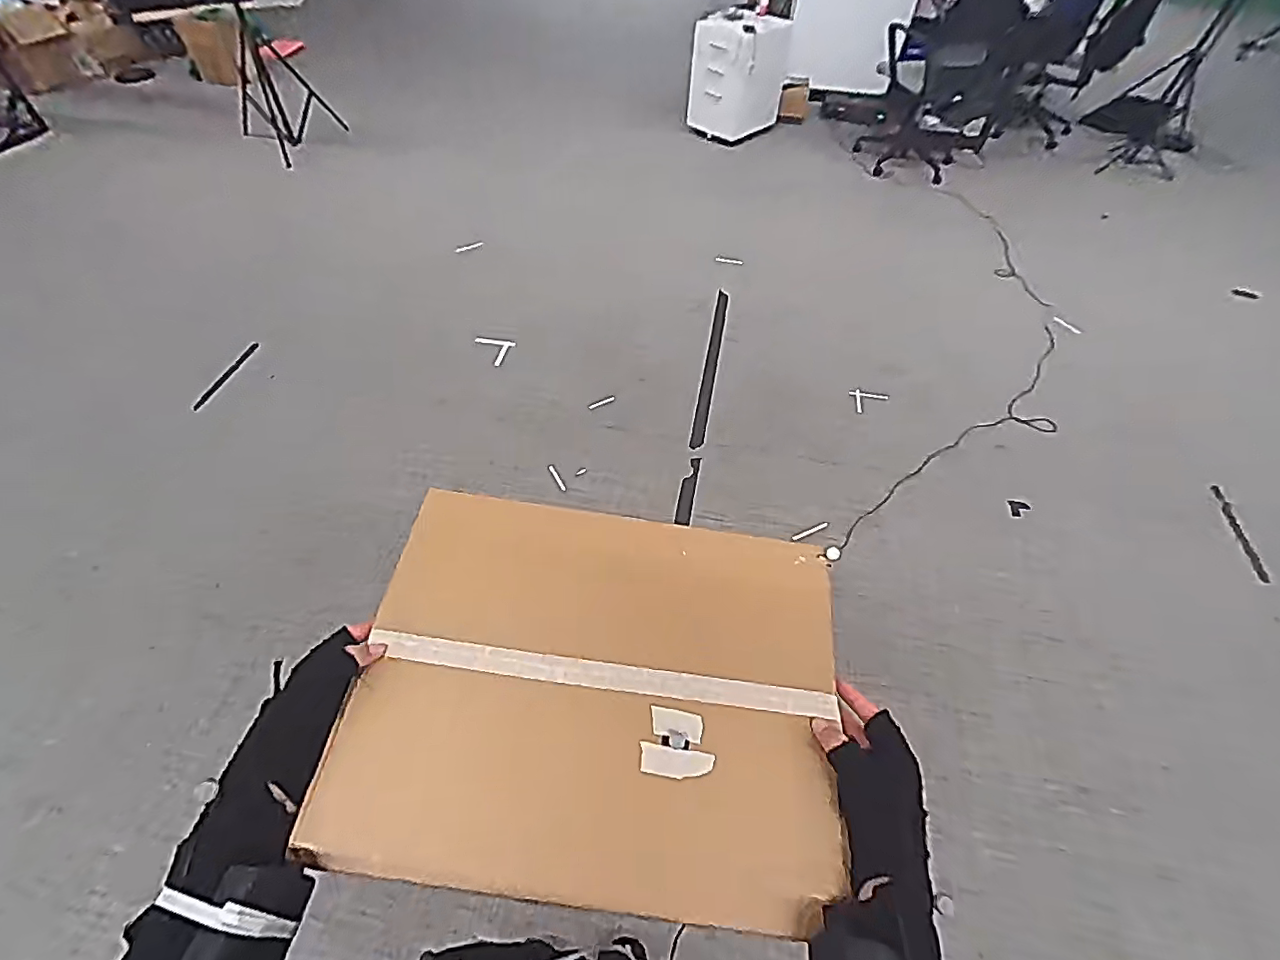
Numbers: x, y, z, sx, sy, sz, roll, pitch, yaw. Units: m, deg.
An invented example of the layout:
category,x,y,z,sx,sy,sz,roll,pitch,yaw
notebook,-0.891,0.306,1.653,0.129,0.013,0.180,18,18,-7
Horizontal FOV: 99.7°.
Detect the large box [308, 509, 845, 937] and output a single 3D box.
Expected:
category,x,y,z,sx,sy,sz,roll,pitch,yaw
large box,-0.044,0.262,0.596,0.408,0.320,0.320,9,57,-1
